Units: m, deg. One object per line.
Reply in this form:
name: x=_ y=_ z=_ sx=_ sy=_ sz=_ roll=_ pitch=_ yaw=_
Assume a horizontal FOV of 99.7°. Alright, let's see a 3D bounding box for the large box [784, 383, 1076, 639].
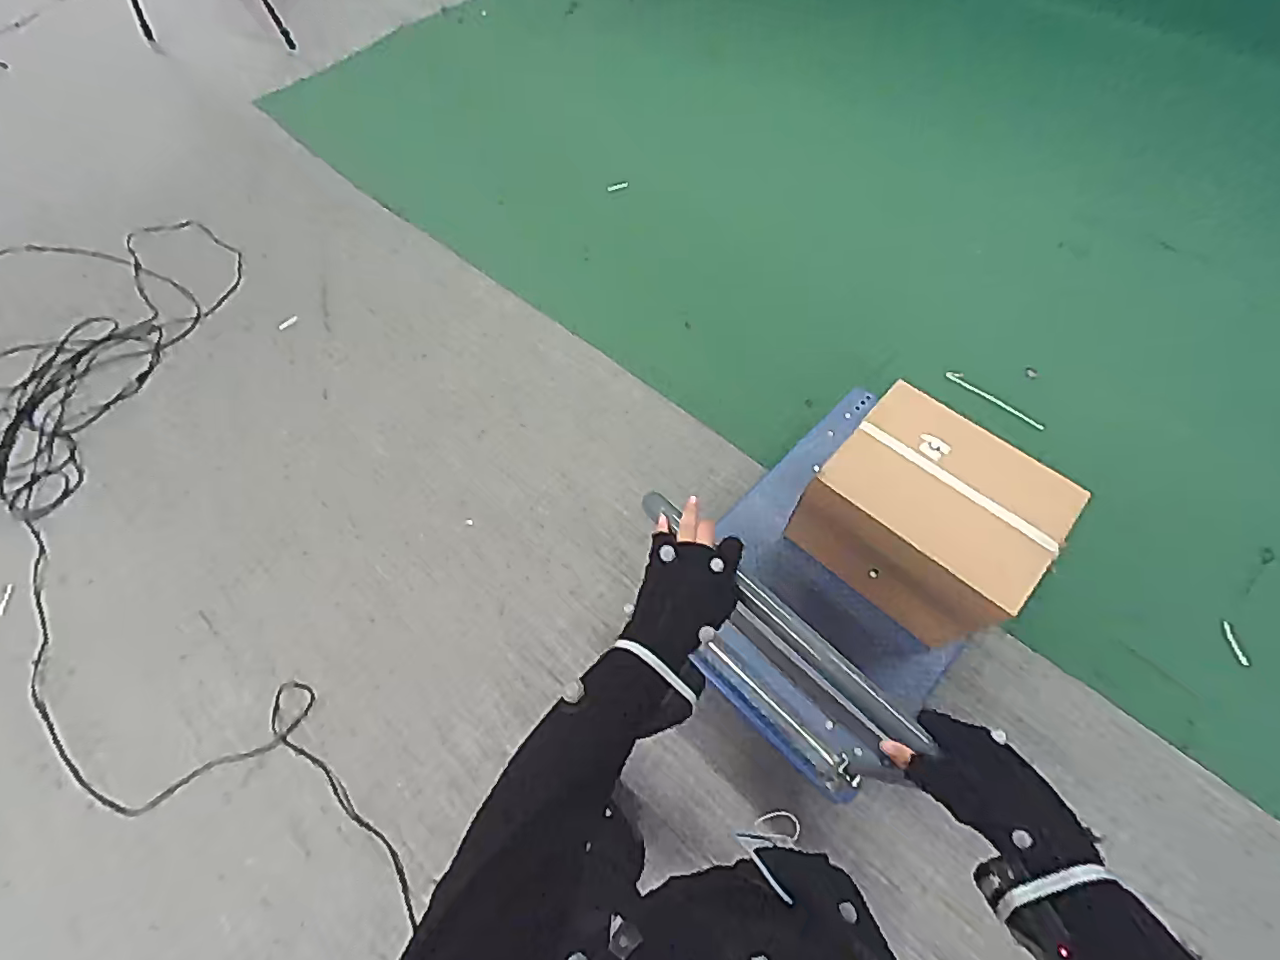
large box: x=0.587 y=0.074 z=1.169 sx=0.408 sy=0.320 sz=0.320 roll=38 pitch=70 yaw=20
